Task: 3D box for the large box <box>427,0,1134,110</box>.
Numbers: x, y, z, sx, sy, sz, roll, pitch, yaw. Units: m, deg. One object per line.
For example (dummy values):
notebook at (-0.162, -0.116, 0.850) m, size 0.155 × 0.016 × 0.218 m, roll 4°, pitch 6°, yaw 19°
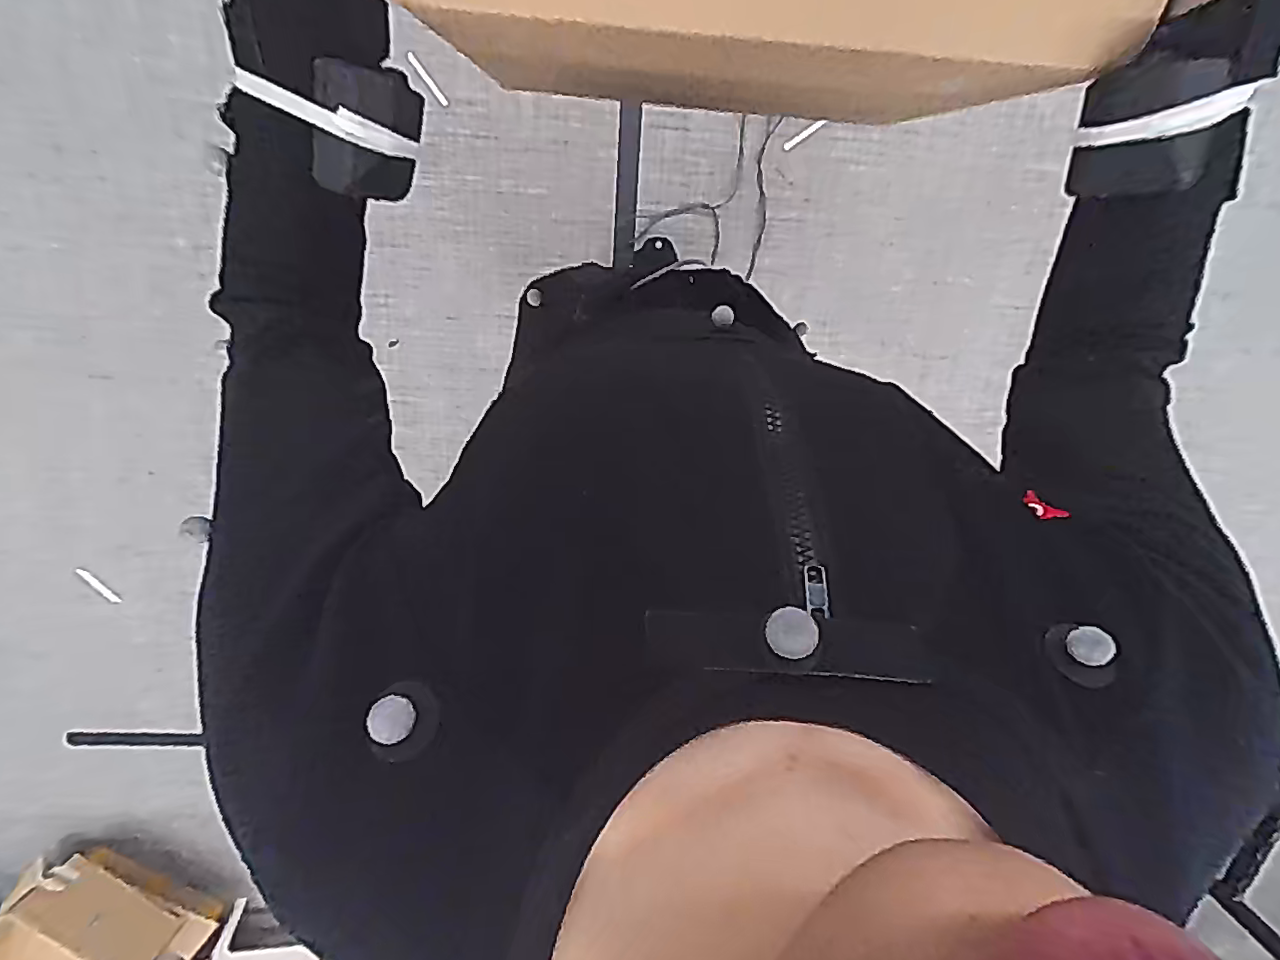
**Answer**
large box at (0.076, -0.454, 0.353) m, size 0.408 × 0.320 × 0.320 m, roll 2°, pitch 120°, yaw -4°
